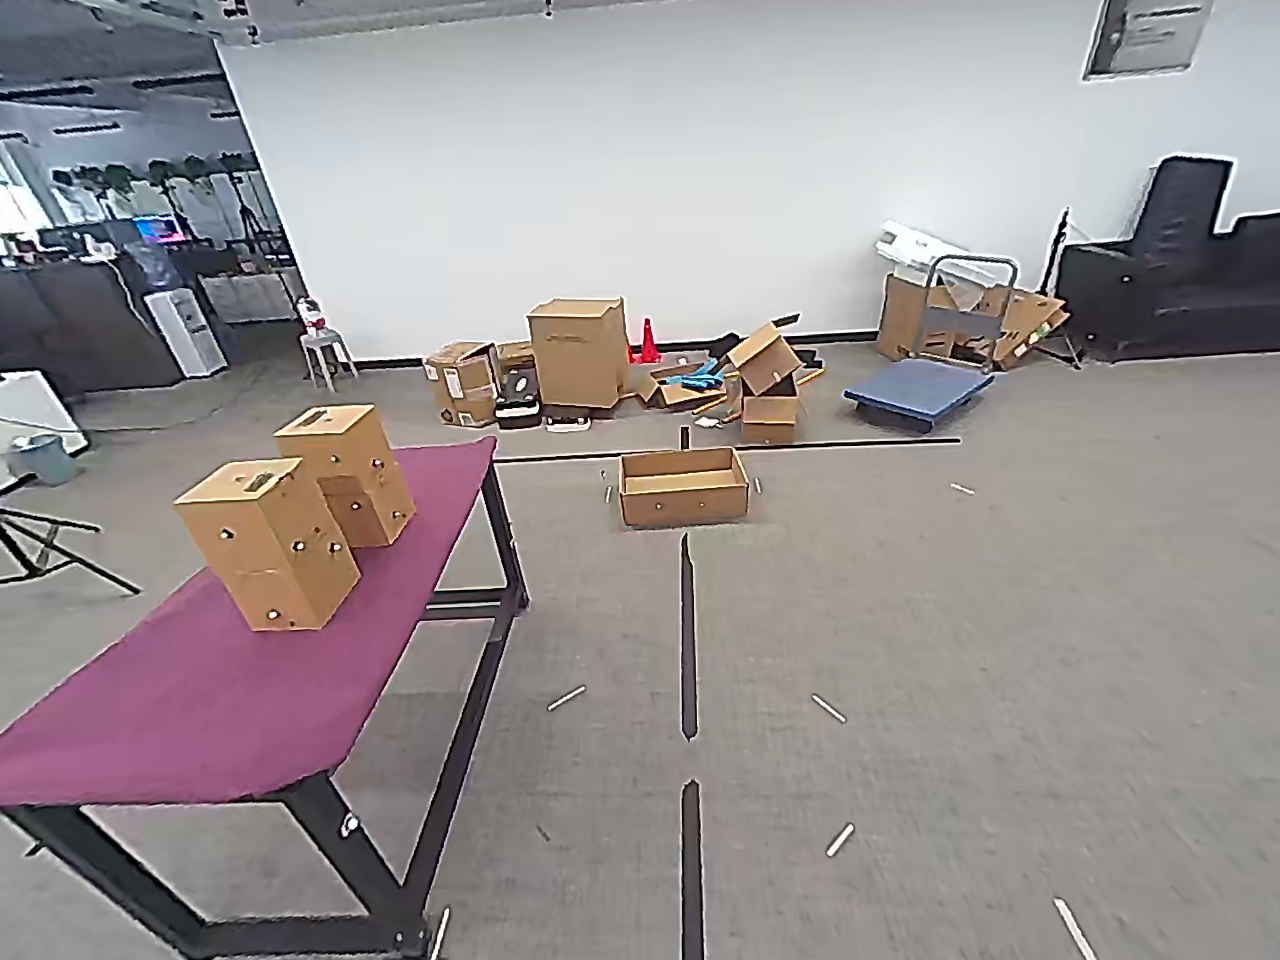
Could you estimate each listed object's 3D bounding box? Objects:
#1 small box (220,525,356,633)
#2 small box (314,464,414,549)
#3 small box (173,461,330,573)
[{"bbox_3d":[-0.768,0.218,1.207,0.168,0.176,0.179,-3,31,5],"label":"small box"},{"bbox_3d":[-0.741,0.073,1.447,0.179,0.176,0.168,-3,31,5],"label":"small box"},{"bbox_3d":[-0.789,0.077,1.124,0.179,0.176,0.168,-4,30,4],"label":"small box"}]
